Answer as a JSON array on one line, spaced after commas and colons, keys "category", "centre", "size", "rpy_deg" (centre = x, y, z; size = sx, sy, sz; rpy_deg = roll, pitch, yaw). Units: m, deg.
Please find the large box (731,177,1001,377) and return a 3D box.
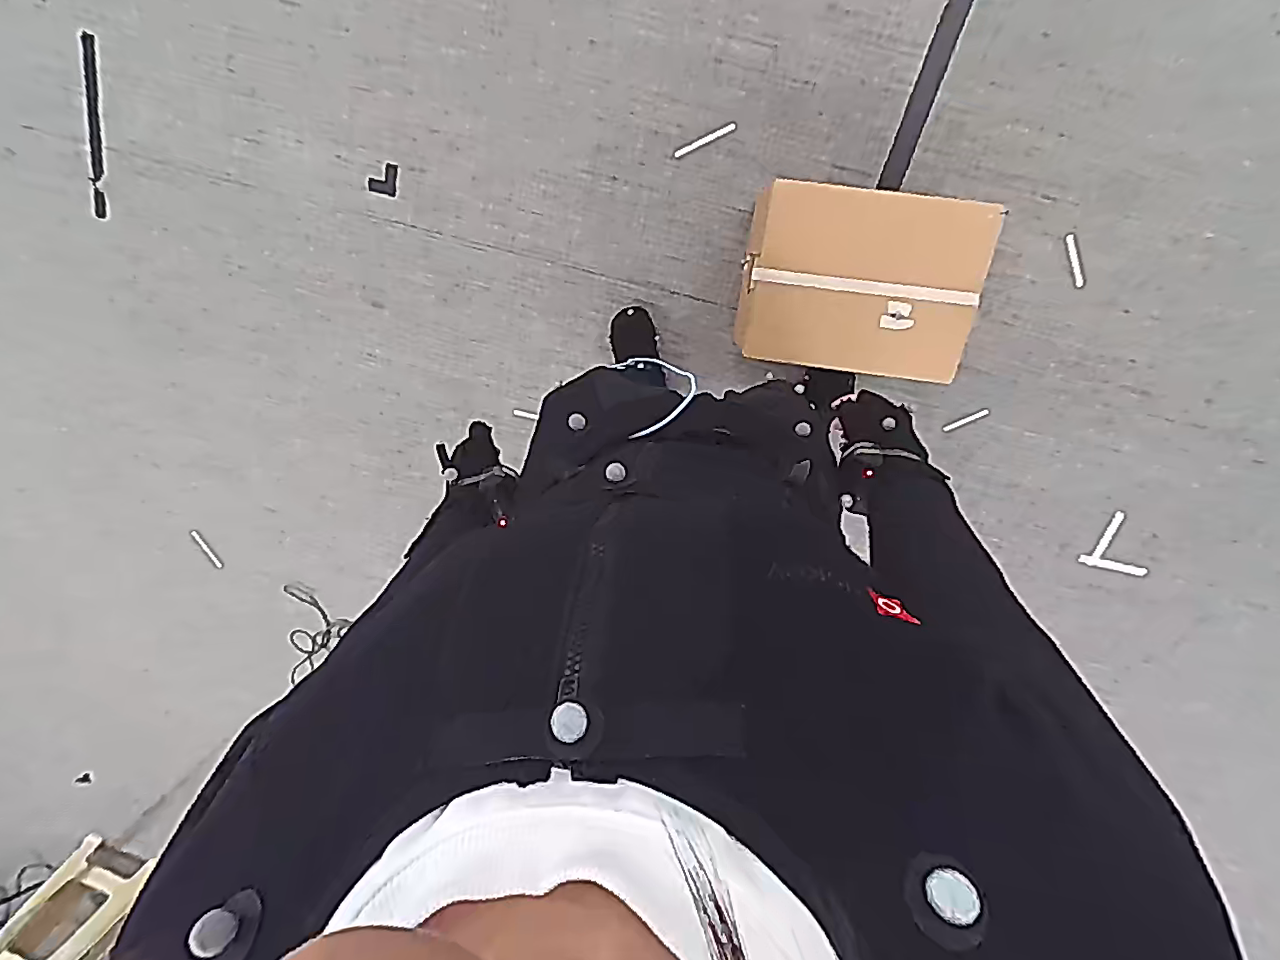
[{"category": "large box", "centre": [0.419, -0.413, 1.124], "size": [0.408, 0.320, 0.320], "rpy_deg": [8, 112, 2]}]
